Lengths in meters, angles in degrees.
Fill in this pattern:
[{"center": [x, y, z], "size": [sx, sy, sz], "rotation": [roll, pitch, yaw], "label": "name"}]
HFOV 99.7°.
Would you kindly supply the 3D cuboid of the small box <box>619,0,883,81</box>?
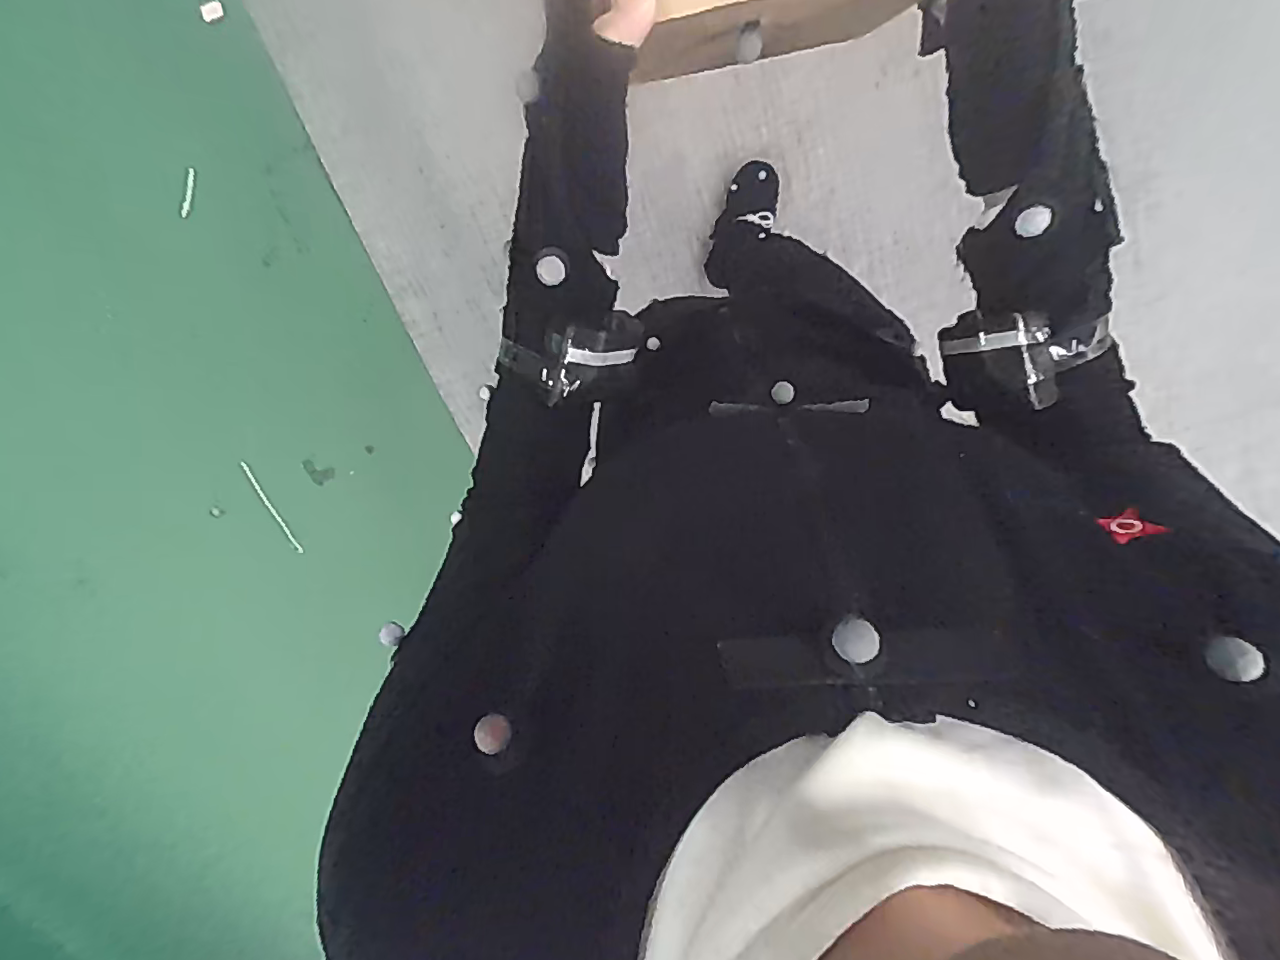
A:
[{"center": [0.062, -0.338, 0.279], "size": [0.179, 0.176, 0.168], "rotation": [-12, 116, 5], "label": "small box"}]
